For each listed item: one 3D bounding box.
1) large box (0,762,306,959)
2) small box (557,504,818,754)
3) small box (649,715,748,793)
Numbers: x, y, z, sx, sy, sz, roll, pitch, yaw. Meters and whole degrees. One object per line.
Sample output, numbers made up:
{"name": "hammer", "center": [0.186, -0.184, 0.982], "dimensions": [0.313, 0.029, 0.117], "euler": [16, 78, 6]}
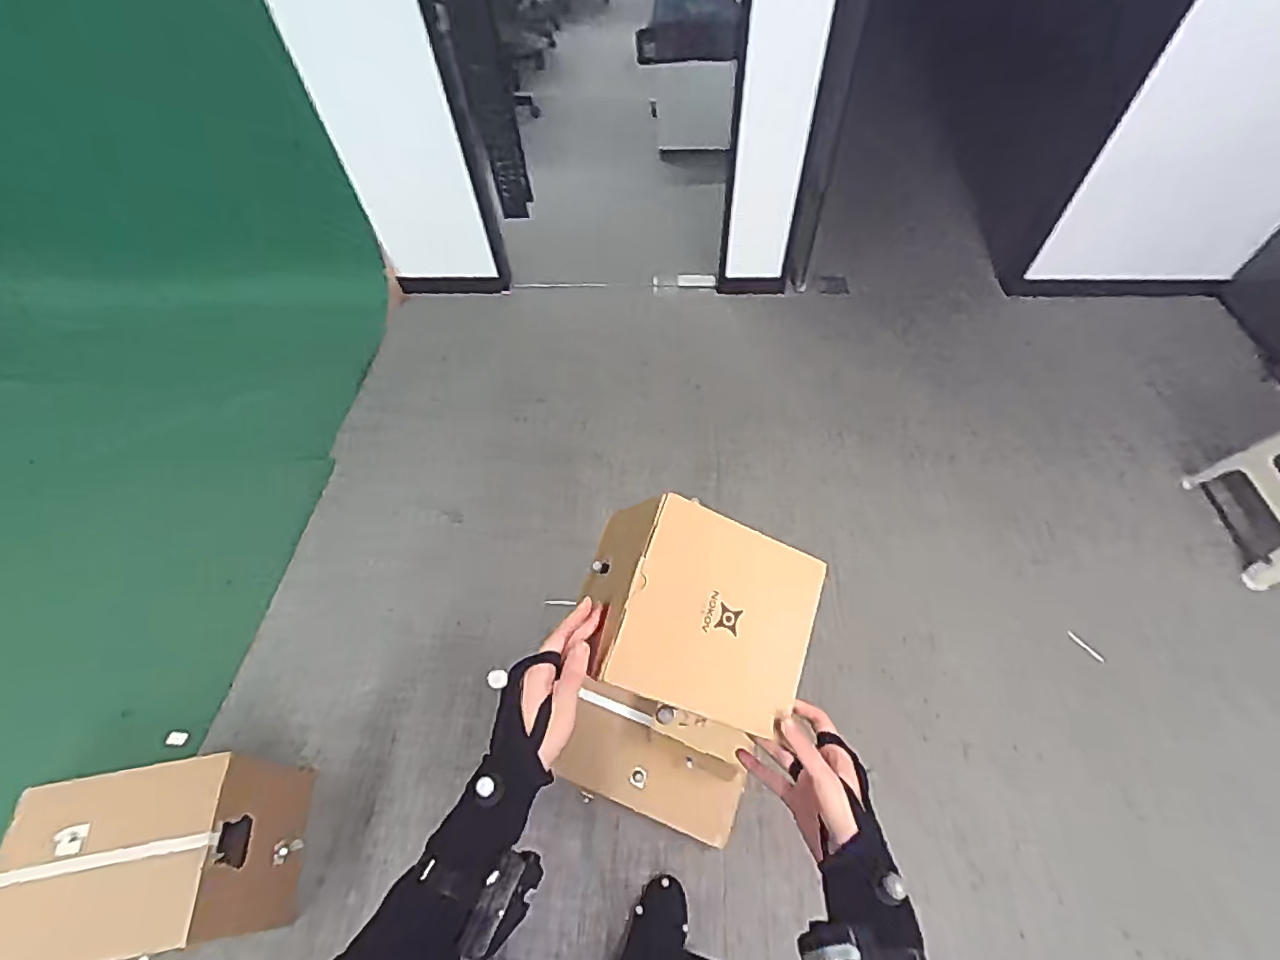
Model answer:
{"name": "large box", "center": [-0.986, 0.806, 1.105], "dimensions": [0.408, 0.320, 0.320], "euler": [-10, 54, -3]}
{"name": "small box", "center": [0.038, 0.140, 0.534], "dimensions": [0.179, 0.176, 0.168], "euler": [25, 72, -13]}
{"name": "small box", "center": [0.122, 0.452, 1.011], "dimensions": [0.168, 0.176, 0.179], "euler": [18, 56, 15]}
